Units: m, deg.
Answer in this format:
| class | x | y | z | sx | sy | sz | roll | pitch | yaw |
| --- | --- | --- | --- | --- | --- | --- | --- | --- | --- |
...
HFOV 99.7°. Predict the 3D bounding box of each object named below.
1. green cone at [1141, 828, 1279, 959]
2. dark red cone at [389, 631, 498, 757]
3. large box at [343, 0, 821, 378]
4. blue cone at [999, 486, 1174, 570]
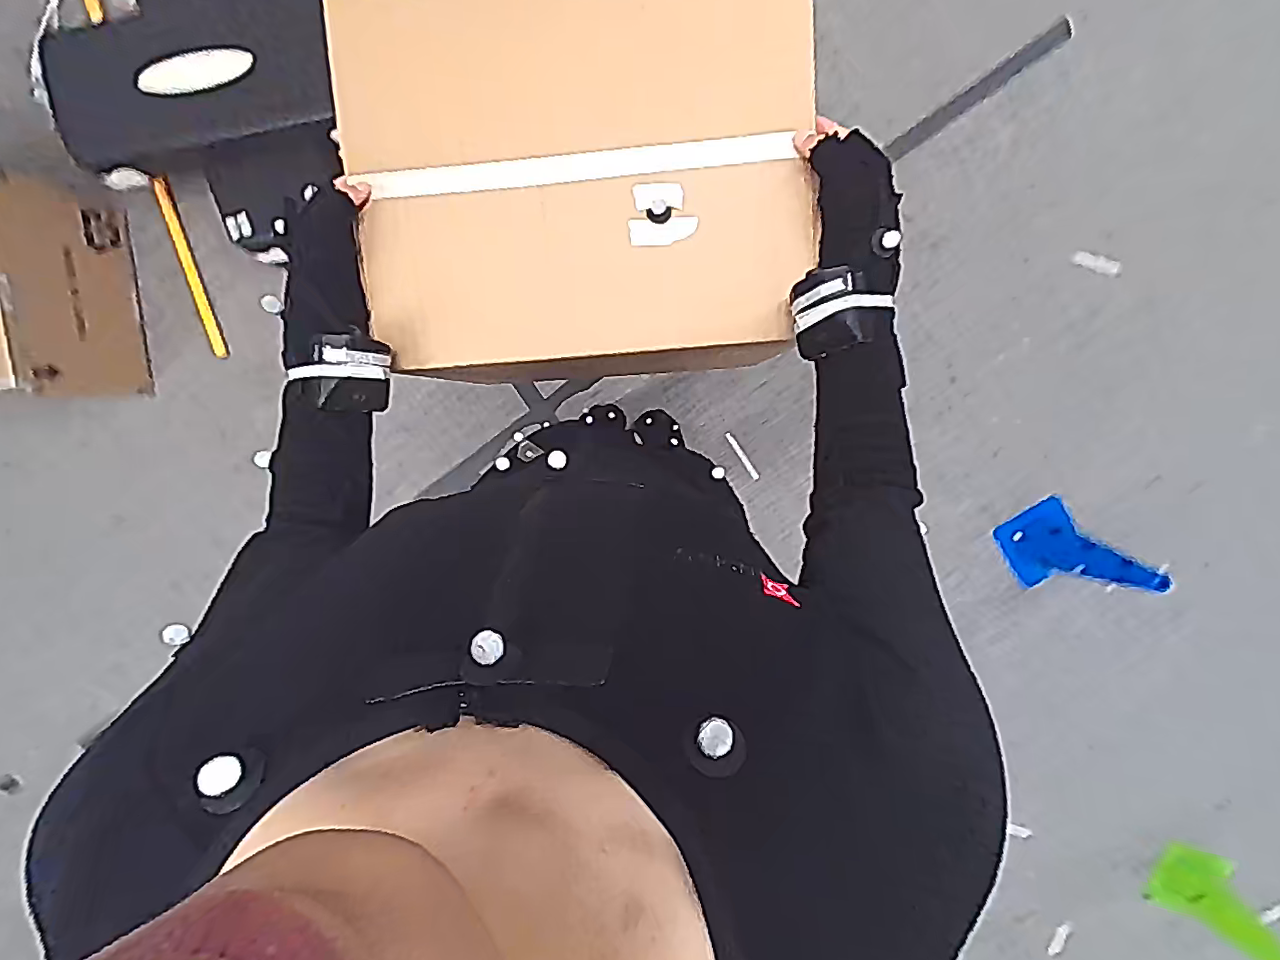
| class | x | y | z | sx | sy | sz | roll | pitch | yaw |
| --- | --- | --- | --- | --- | --- | --- | --- | --- | --- |
| green cone | 1.601 | 1.156 | 1.423 | 0.200 | 0.368 | 0.202 | 18 | 97 | -2 |
| dark red cone | -0.529 | 0.568 | 1.376 | 0.201 | 0.394 | 0.202 | -29 | 97 | 4 |
| large box | -0.044 | -0.294 | 0.616 | 0.408 | 0.320 | 0.320 | -3 | 98 | 1 |
| blue cone | 1.088 | 0.154 | 1.311 | 0.192 | 0.380 | 0.193 | -31 | 96 | 4 |
